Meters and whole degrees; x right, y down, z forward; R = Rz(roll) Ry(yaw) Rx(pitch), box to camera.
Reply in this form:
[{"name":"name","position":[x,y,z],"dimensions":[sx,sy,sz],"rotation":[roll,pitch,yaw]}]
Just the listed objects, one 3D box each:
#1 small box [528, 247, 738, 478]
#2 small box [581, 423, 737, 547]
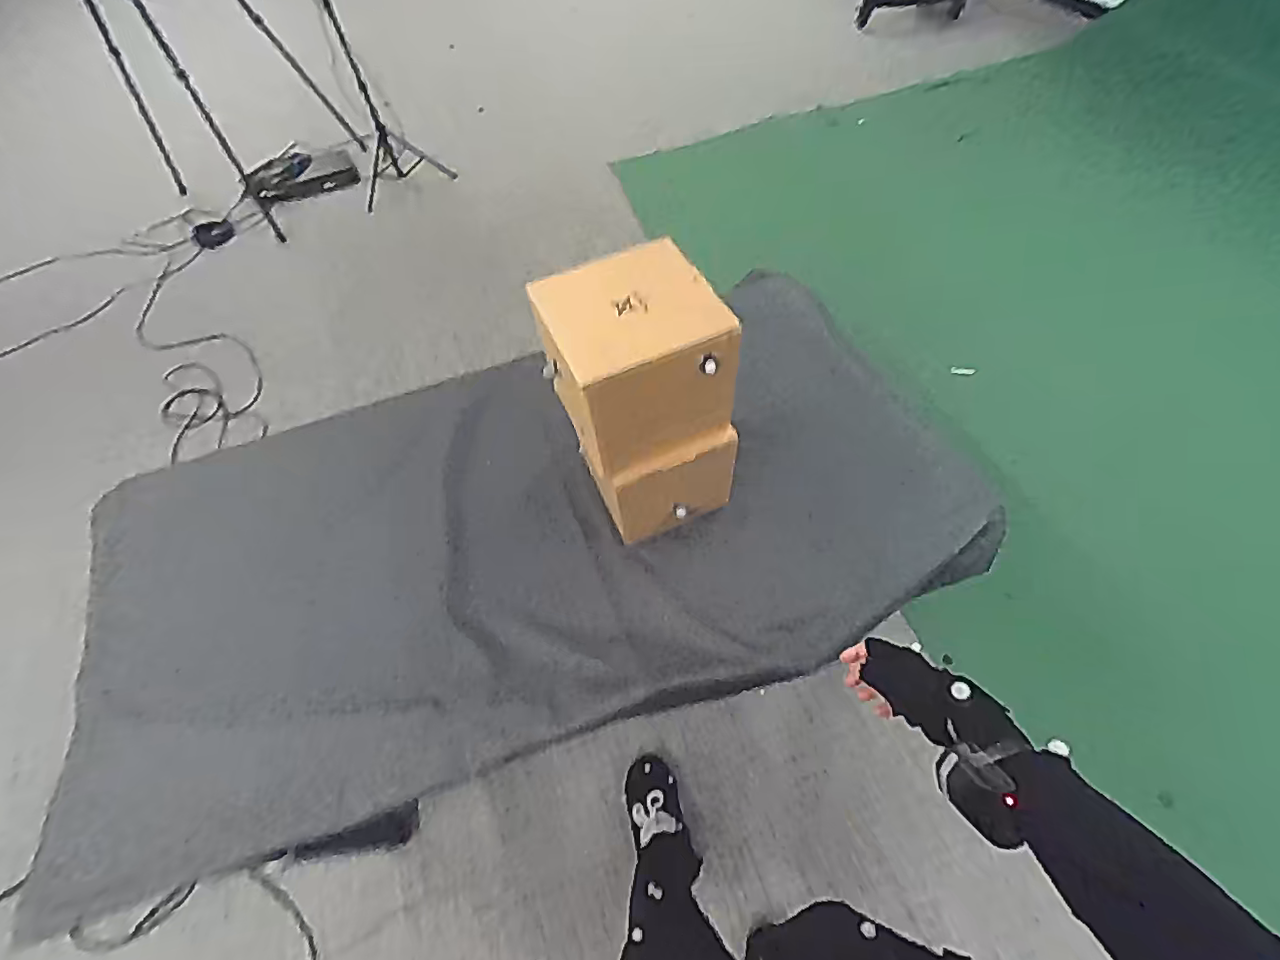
[{"name":"small box","position":[-0.006,-0.129,0.625],"dimensions":[0.179,0.176,0.168],"rotation":[-23,59,-11]},{"name":"small box","position":[0.016,-0.037,0.758],"dimensions":[0.168,0.176,0.179],"rotation":[-22,59,-10]}]
